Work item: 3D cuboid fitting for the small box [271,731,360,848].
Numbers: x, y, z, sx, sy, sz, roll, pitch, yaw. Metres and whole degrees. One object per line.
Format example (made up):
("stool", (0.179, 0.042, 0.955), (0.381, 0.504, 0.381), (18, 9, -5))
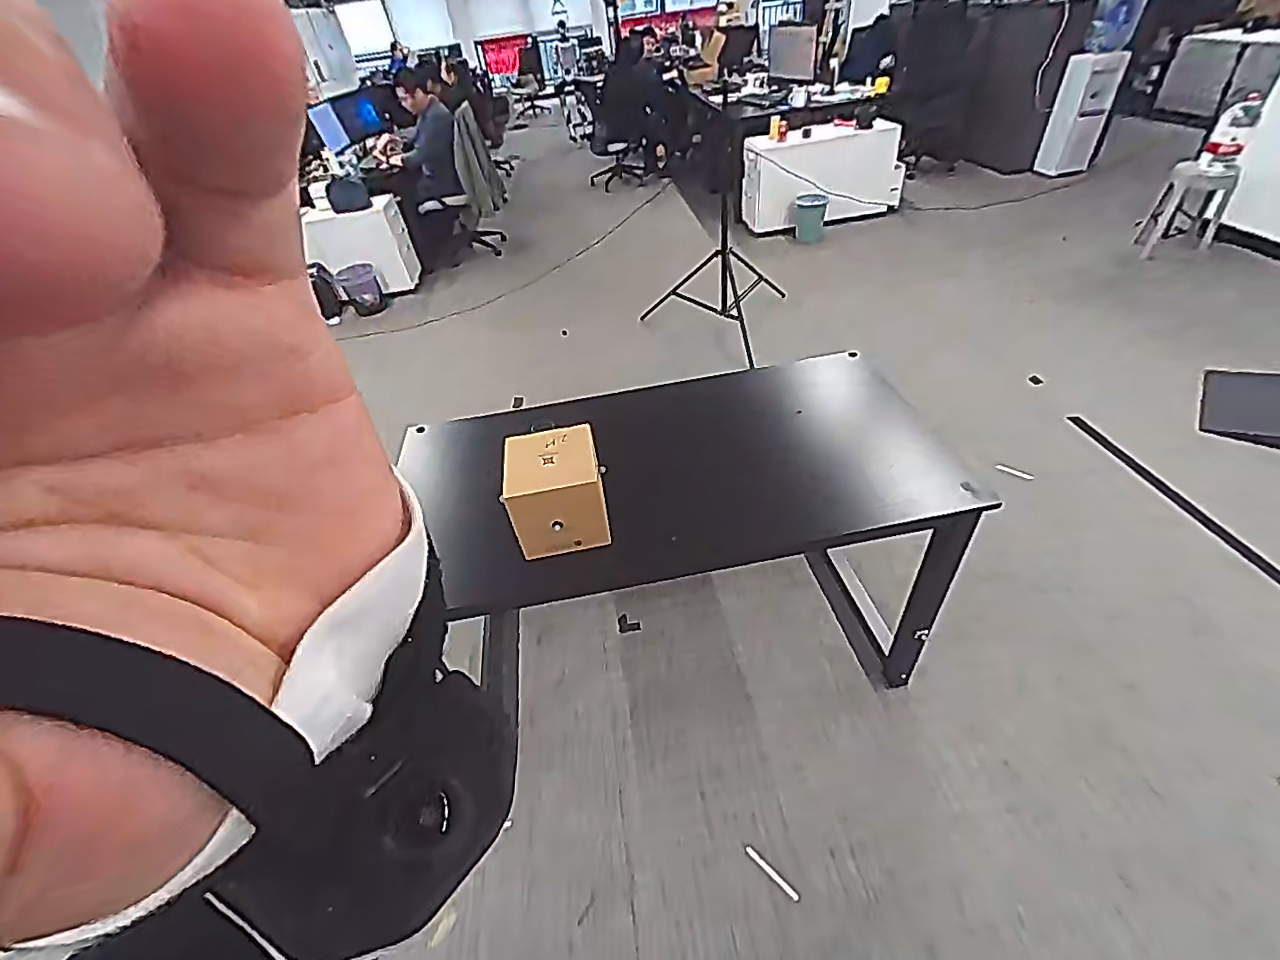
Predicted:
("small box", (-0.861, 0.804, 1.404), (0.168, 0.176, 0.179), (26, 51, 33))

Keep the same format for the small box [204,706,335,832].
("small box", (-0.872, 0.688, 1.283), (0.168, 0.176, 0.179), (28, 53, 33))

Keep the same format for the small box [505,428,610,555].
("small box", (-0.157, 0.028, 1.050), (0.168, 0.176, 0.179), (-10, 41, -3))
